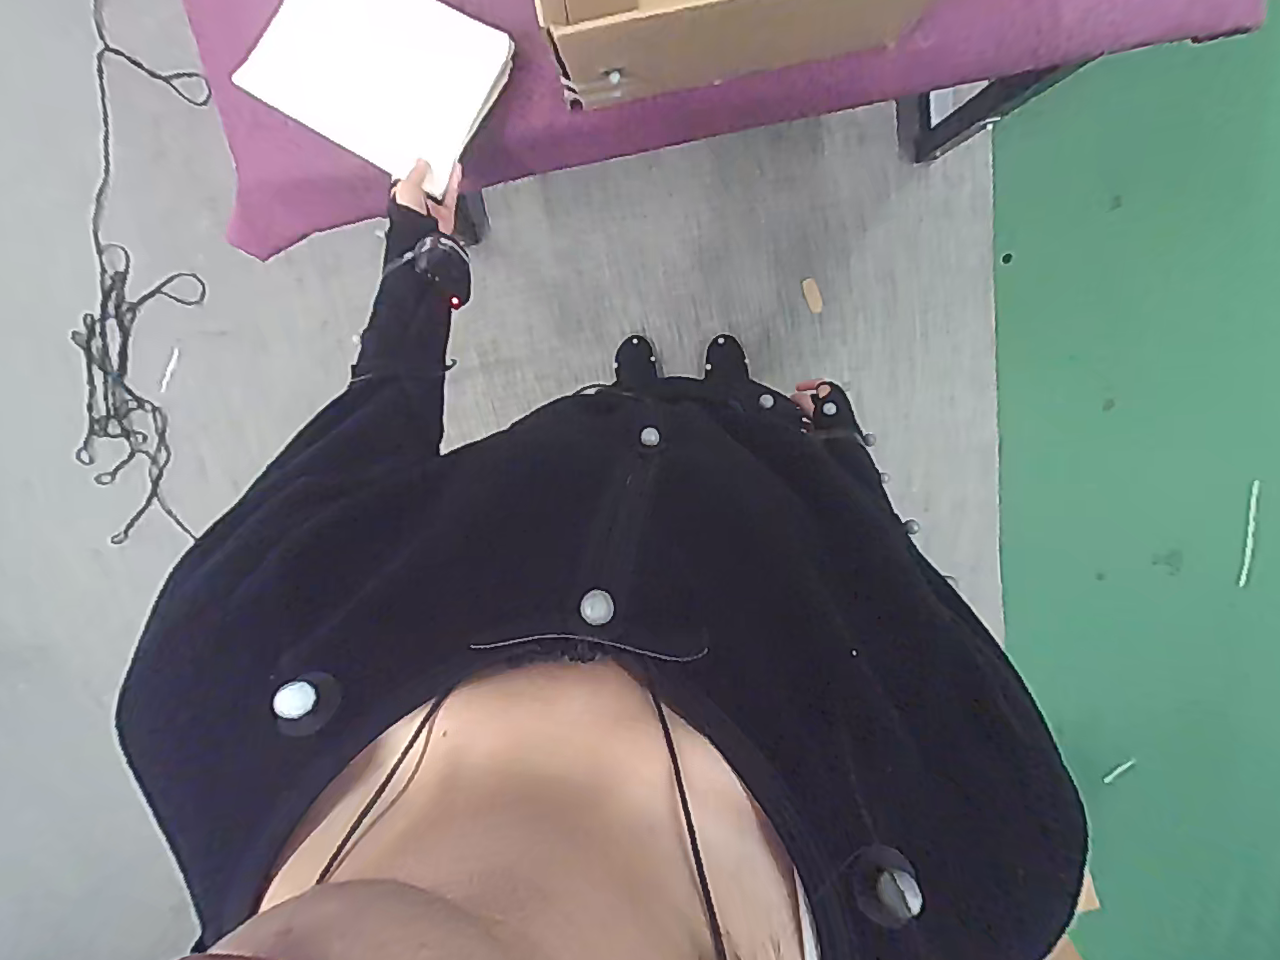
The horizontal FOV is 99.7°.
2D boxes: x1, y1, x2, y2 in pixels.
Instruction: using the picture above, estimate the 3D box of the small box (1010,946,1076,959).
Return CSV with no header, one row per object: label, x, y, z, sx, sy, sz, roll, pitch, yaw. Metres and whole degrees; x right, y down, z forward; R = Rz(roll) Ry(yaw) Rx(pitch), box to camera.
small box,0.946,1.207,1.212,0.179,0.176,0.168,-24,101,8
